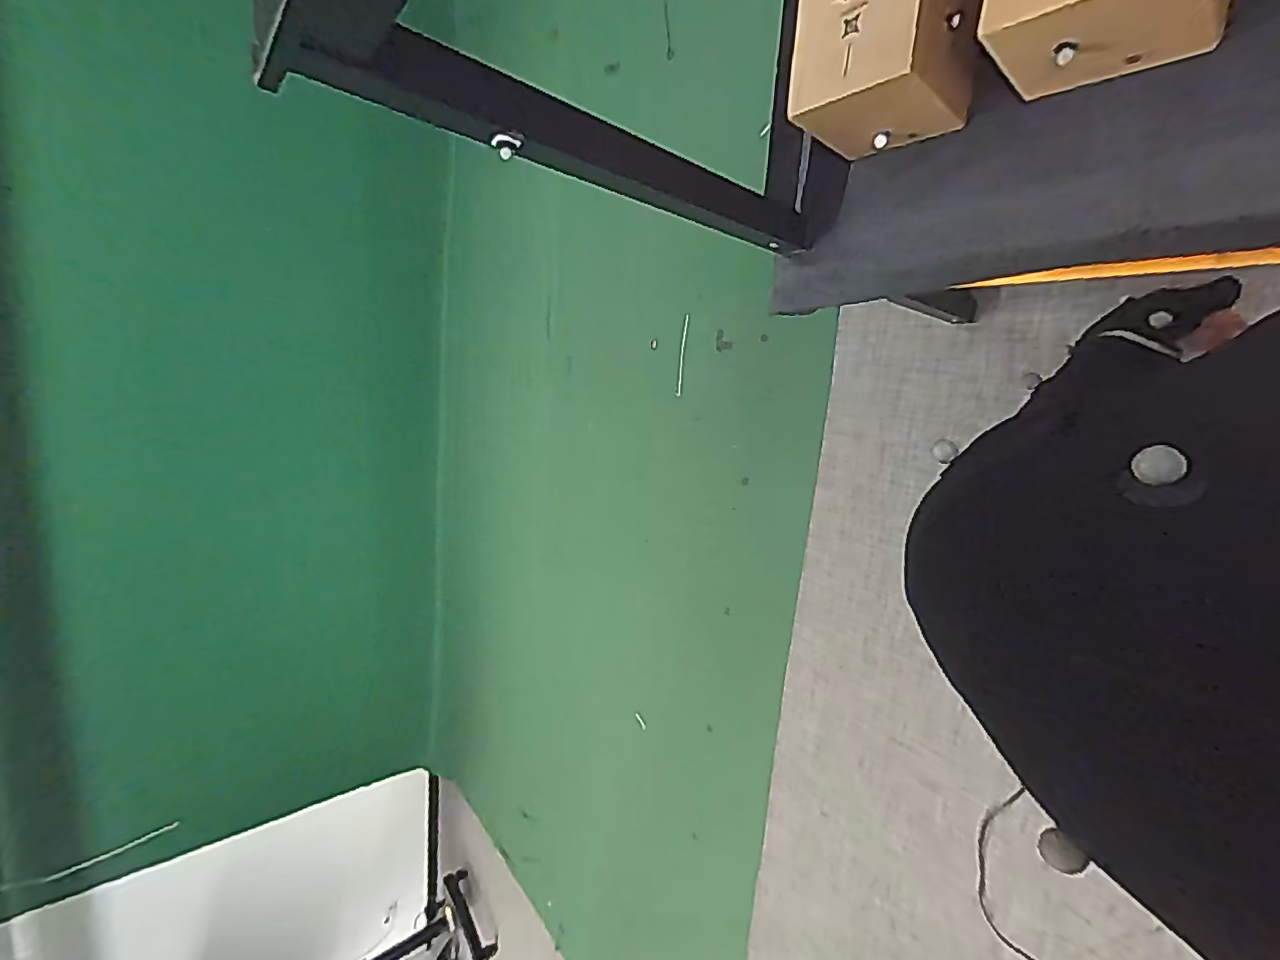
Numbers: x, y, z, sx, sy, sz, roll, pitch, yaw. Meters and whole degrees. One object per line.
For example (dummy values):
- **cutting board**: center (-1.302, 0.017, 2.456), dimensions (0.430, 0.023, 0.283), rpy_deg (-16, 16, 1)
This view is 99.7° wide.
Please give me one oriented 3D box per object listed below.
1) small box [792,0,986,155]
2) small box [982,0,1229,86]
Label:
- **small box**: center (0.324, -0.561, 0.702), dimensions (0.168, 0.176, 0.179), rpy_deg (15, 104, 48)
- **small box**: center (0.473, -0.529, 0.533), dimensions (0.168, 0.176, 0.179), rpy_deg (17, 105, 48)
